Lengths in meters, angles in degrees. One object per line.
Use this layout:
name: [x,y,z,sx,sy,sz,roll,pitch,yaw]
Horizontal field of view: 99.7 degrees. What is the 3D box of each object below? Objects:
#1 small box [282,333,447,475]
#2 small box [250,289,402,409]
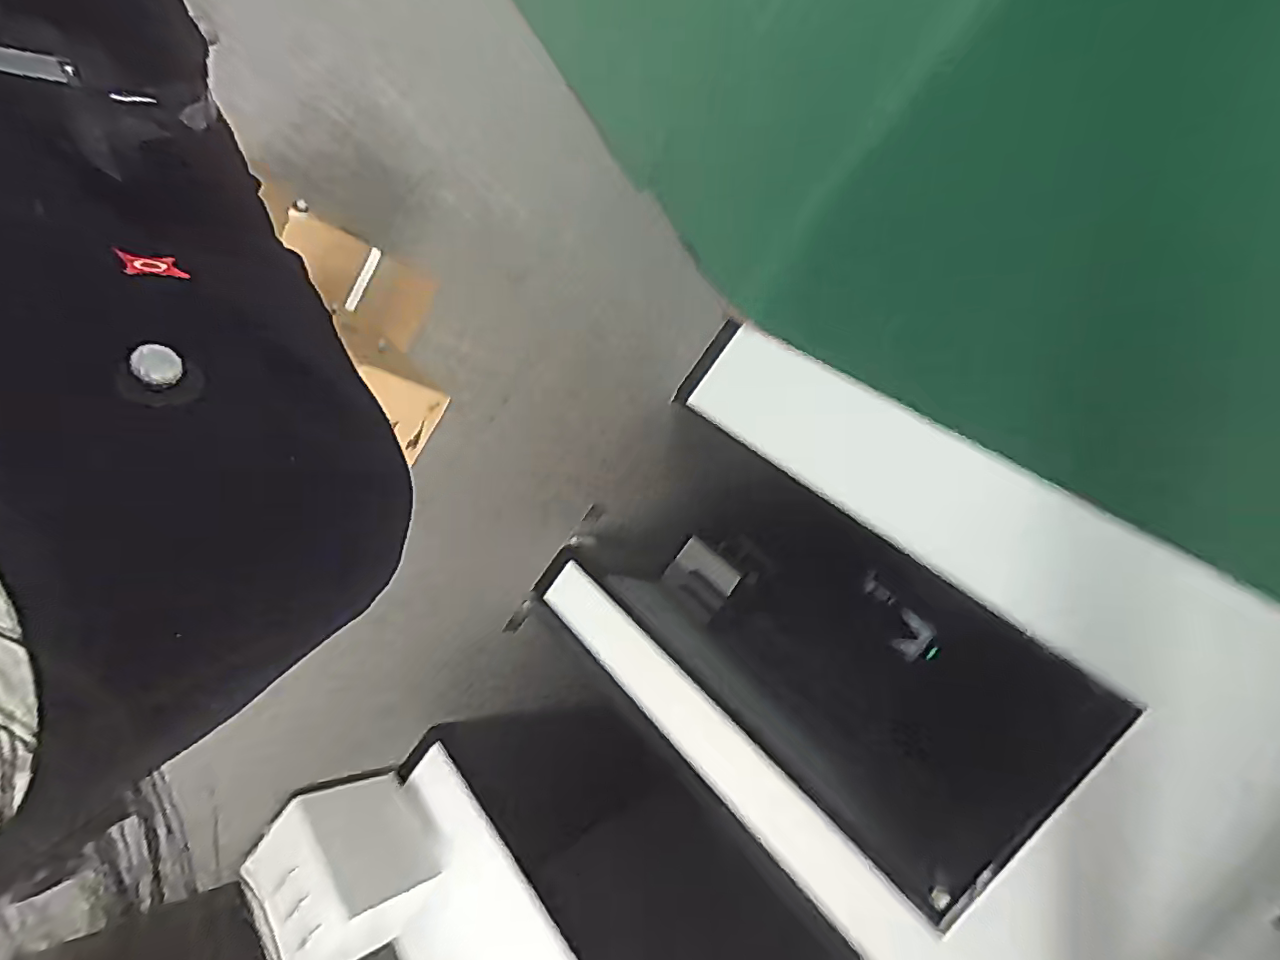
small box: [-0.484,-0.135,0.946,0.168,0.176,0.179,-56,149,8]
small box: [-0.596,-0.227,1.021,0.179,0.176,0.168,-54,149,9]
